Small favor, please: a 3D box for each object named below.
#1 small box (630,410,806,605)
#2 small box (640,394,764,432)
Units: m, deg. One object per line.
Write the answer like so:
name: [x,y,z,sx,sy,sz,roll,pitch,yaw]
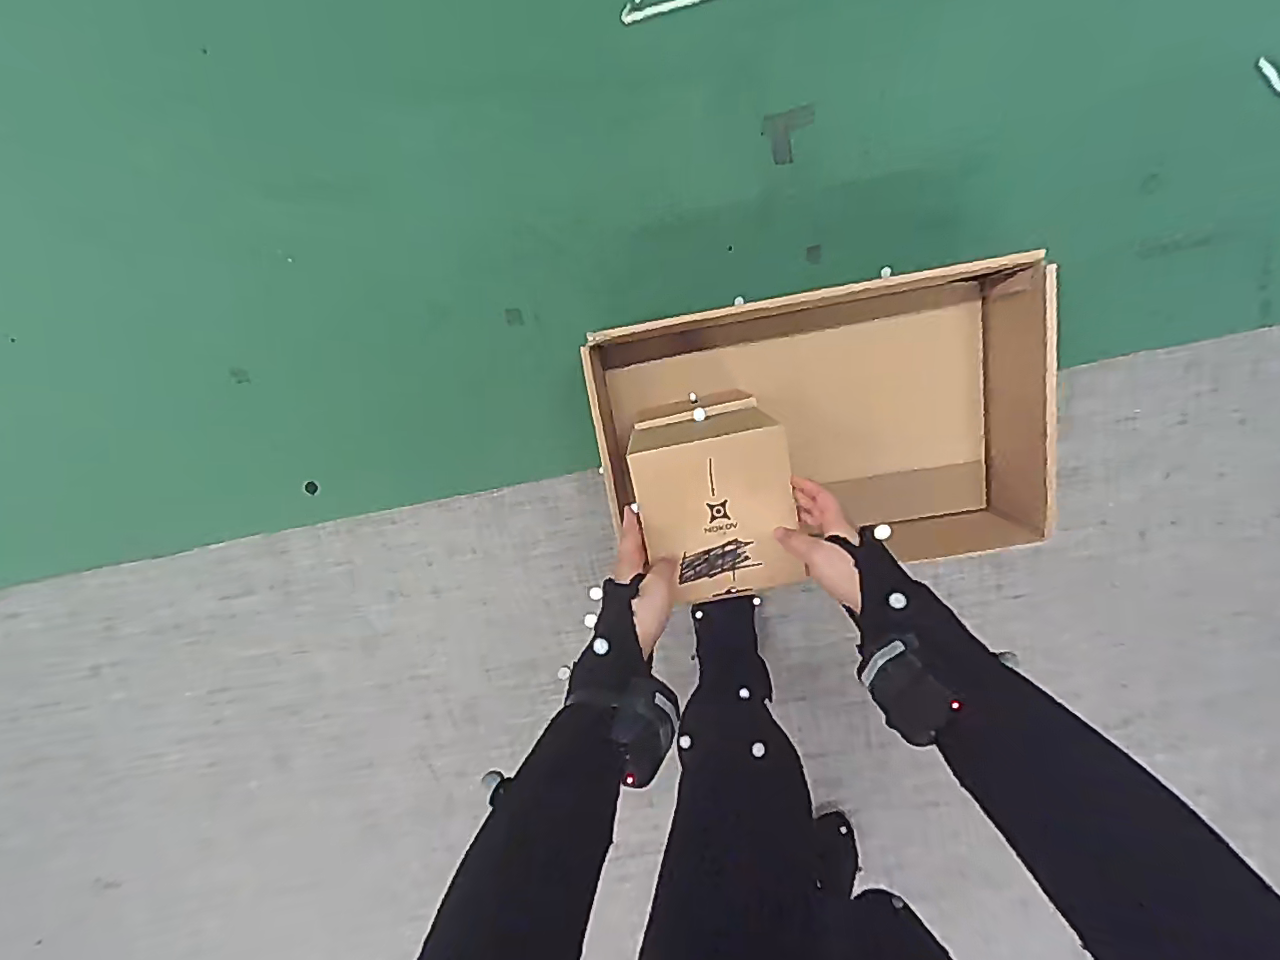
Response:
small box: [0.087,0.023,0.645,0.168,0.176,0.179,-11,103,4]
small box: [0.096,-0.027,0.803,0.168,0.176,0.179,-12,103,5]
